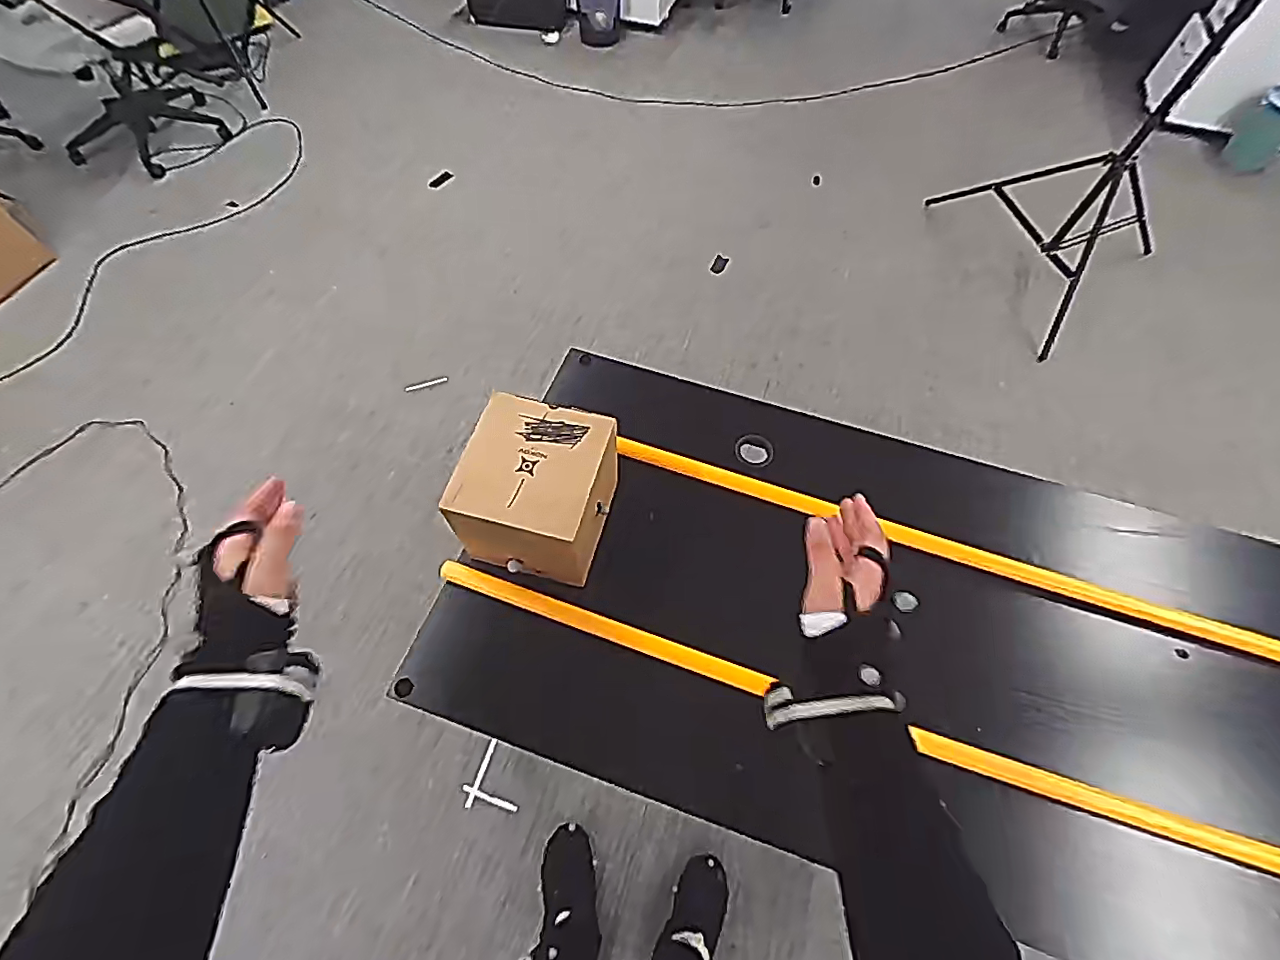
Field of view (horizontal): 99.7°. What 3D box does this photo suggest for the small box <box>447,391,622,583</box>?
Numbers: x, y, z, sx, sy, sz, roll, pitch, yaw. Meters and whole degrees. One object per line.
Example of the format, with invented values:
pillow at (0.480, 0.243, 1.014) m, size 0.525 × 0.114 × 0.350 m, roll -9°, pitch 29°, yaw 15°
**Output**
small box at (-0.126, 0.014, 0.721) m, size 0.168 × 0.176 × 0.179 m, roll 14°, pitch 63°, yaw 6°
